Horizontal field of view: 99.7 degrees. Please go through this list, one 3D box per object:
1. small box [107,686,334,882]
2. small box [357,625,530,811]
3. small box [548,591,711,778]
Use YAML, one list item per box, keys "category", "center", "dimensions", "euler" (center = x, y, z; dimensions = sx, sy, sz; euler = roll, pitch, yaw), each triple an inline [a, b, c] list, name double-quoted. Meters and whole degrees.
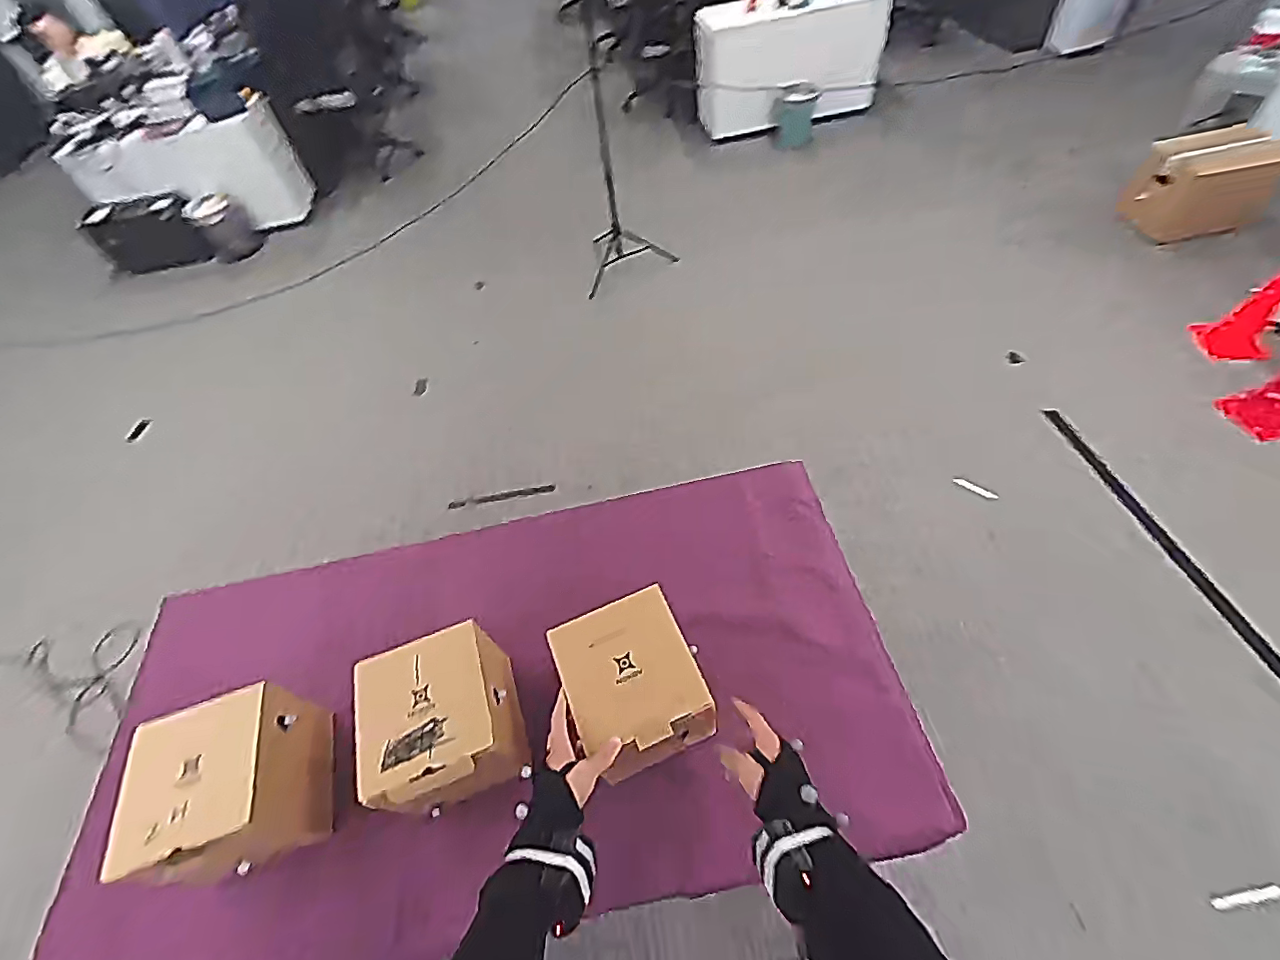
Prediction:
- category: "small box"
  center: [-0.537, 0.410, 0.727]
  dimensions: [0.168, 0.176, 0.179]
  euler: [-19, 53, -6]
- category: "small box"
  center: [-0.265, 0.335, 0.748]
  dimensions: [0.168, 0.176, 0.179]
  euler: [-20, 53, -7]
- category: "small box"
  center: [-0.008, 0.289, 0.749]
  dimensions: [0.168, 0.176, 0.179]
  euler: [-22, 53, -9]
